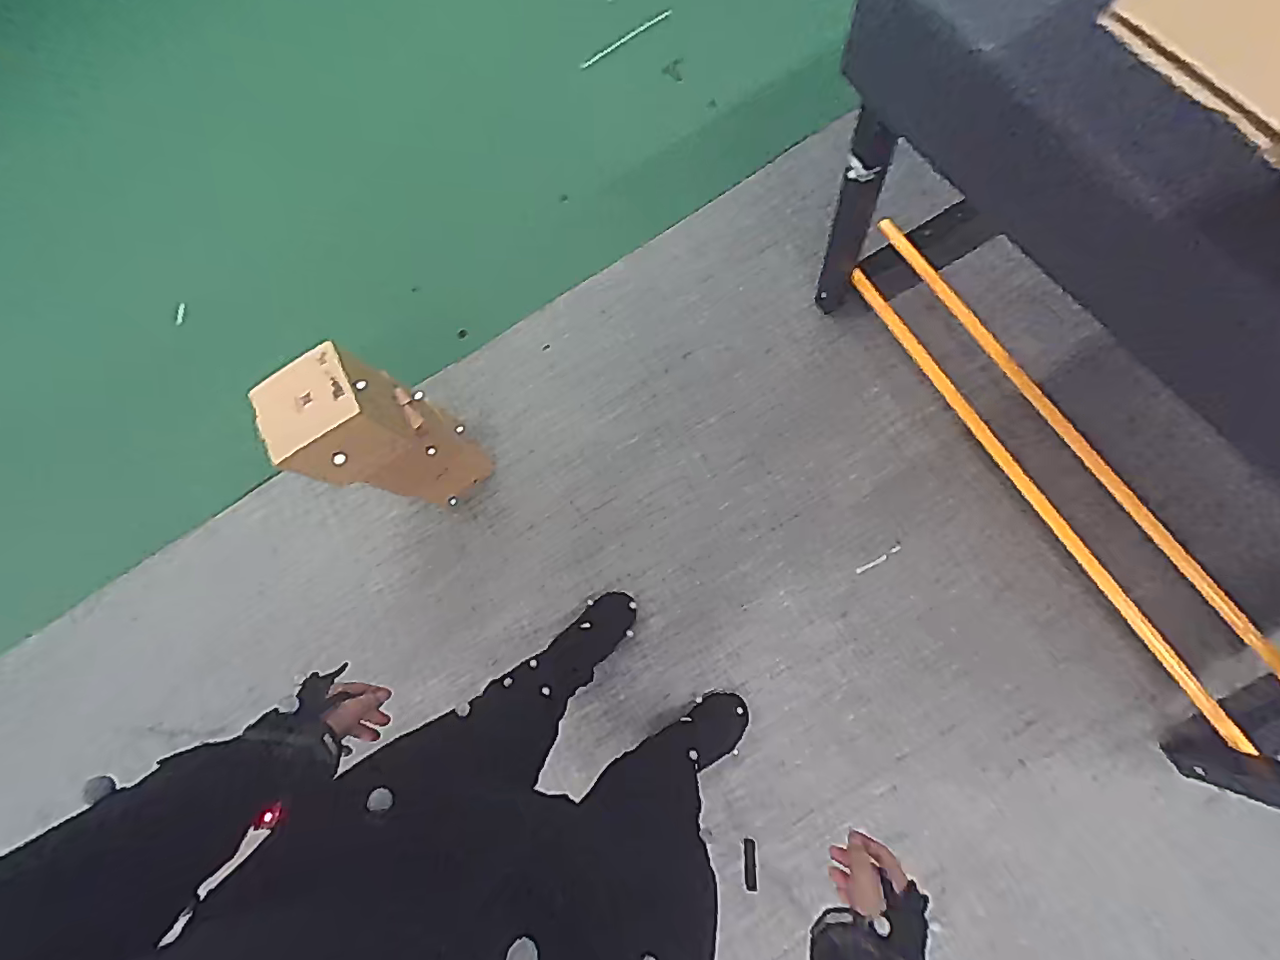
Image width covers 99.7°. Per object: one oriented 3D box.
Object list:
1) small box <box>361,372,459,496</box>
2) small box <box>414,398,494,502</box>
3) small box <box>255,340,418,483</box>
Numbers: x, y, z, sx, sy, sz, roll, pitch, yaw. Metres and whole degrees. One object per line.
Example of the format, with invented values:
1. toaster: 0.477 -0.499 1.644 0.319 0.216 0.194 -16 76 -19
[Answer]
1. small box: -0.517 -0.092 1.160 0.179 0.176 0.168 -43 71 -2
2. small box: -0.488 -0.063 1.317 0.168 0.176 0.179 -40 72 -2
3. small box: -0.551 -0.116 0.999 0.179 0.176 0.168 -32 72 3
